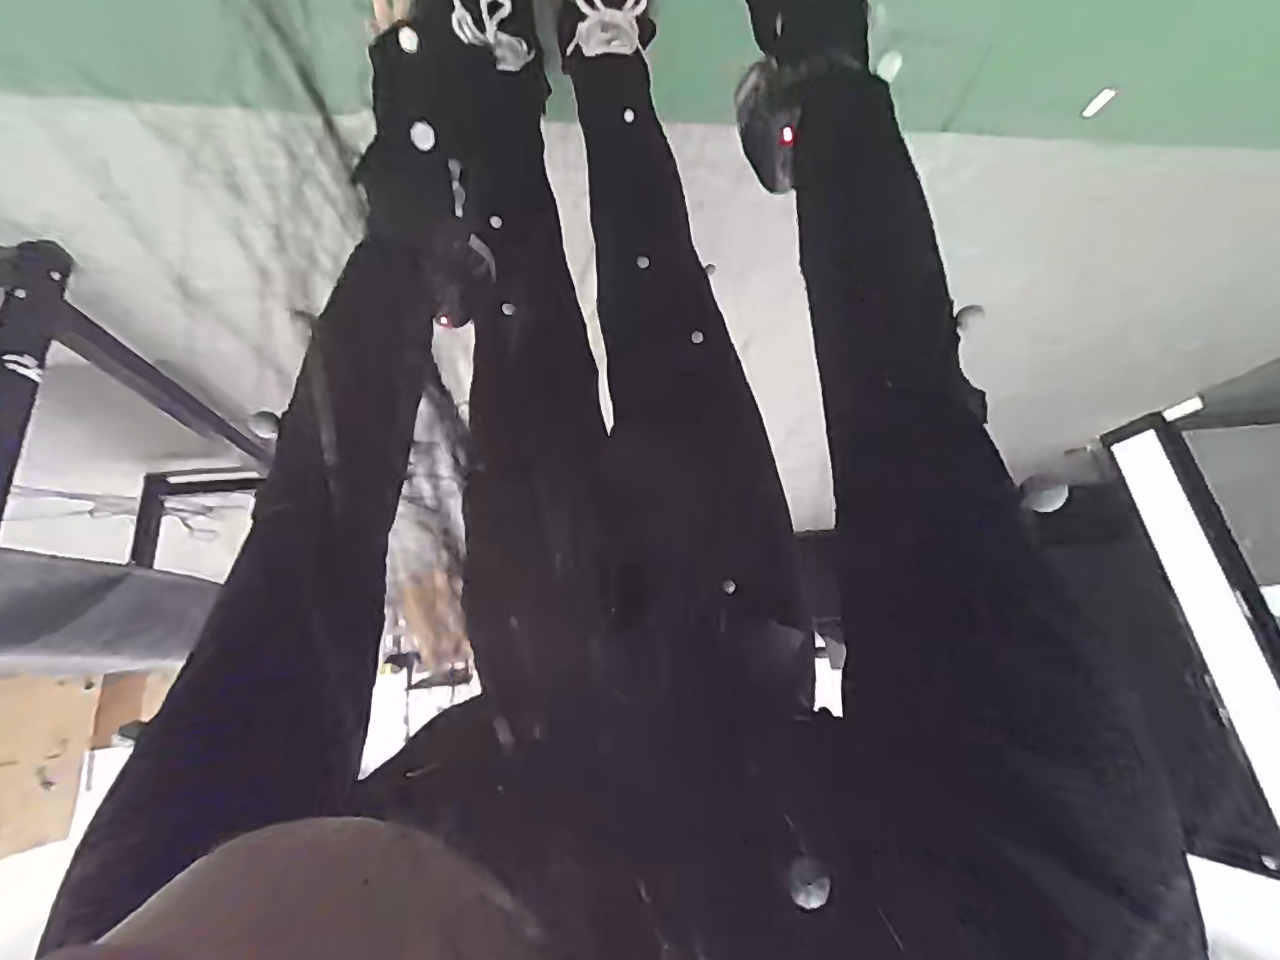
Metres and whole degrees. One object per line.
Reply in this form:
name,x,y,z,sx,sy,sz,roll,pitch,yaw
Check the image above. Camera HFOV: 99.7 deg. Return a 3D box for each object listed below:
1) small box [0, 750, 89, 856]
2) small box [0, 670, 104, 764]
small box,-1.281,0.652,1.089,0.179,0.176,0.168,-6,161,-6
small box,-1.285,0.493,1.132,0.179,0.176,0.168,-4,160,-7
